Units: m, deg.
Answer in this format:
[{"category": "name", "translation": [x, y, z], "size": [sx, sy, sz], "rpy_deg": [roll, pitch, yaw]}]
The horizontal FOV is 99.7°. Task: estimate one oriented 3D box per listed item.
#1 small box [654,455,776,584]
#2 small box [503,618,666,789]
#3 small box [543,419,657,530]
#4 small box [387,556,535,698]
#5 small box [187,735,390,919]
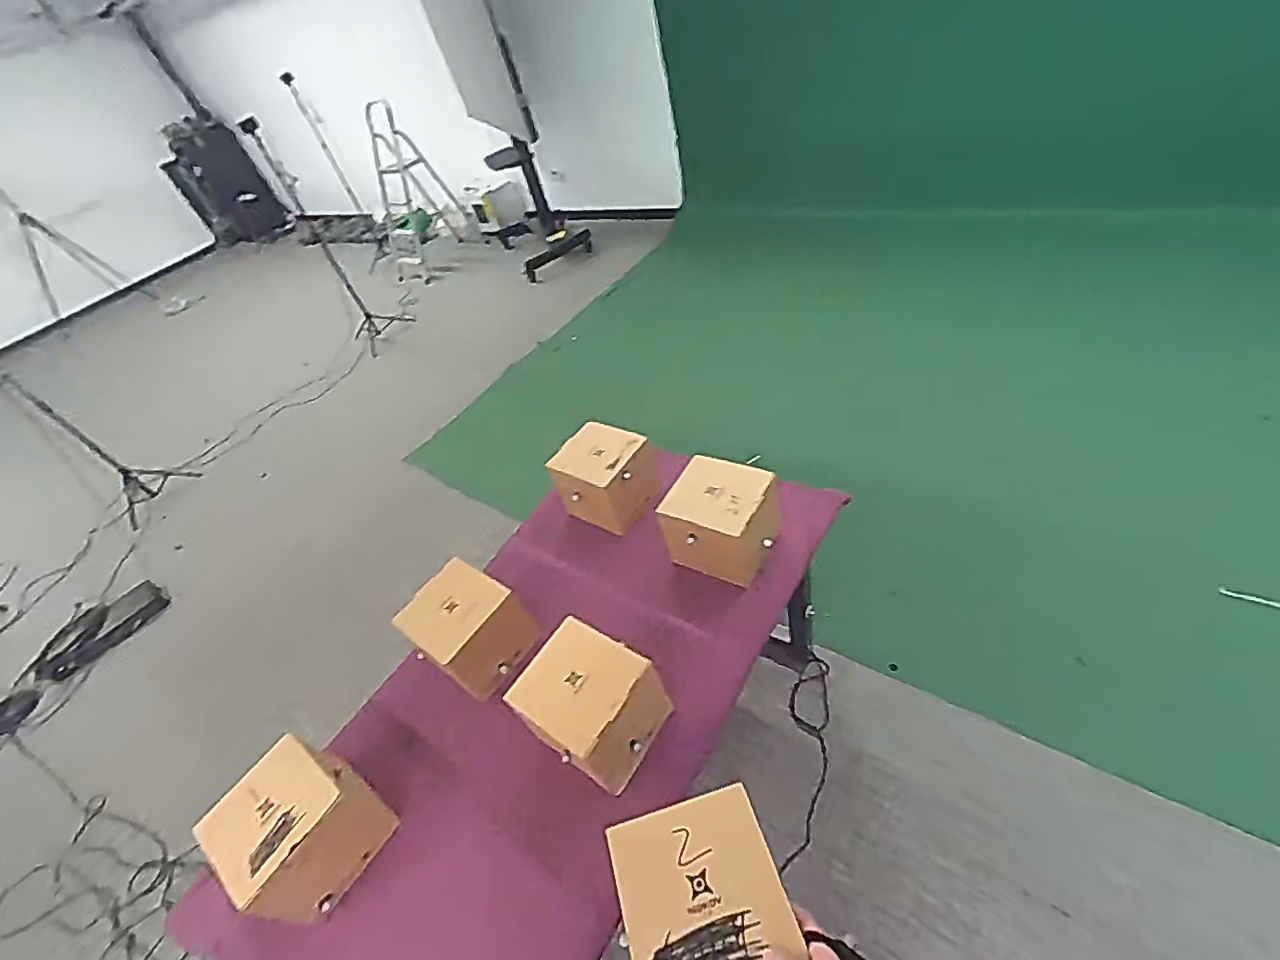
[{"category": "small box", "translation": [0.156, 0.080, 1.074], "size": [0.179, 0.176, 0.168], "rpy_deg": [18, 56, 30]}, {"category": "small box", "translation": [-0.081, 0.364, 0.876], "size": [0.179, 0.176, 0.168], "rpy_deg": [19, 55, 32]}, {"category": "small box", "translation": [-0.084, -0.010, 1.239], "size": [0.179, 0.176, 0.168], "rpy_deg": [20, 56, 32]}, {"category": "small box", "translation": [-0.333, 0.283, 1.033], "size": [0.179, 0.176, 0.168], "rpy_deg": [22, 57, 32]}, {"category": "small box", "translation": [-0.531, 0.539, 0.839], "size": [0.179, 0.176, 0.168], "rpy_deg": [20, 55, 31]}]
